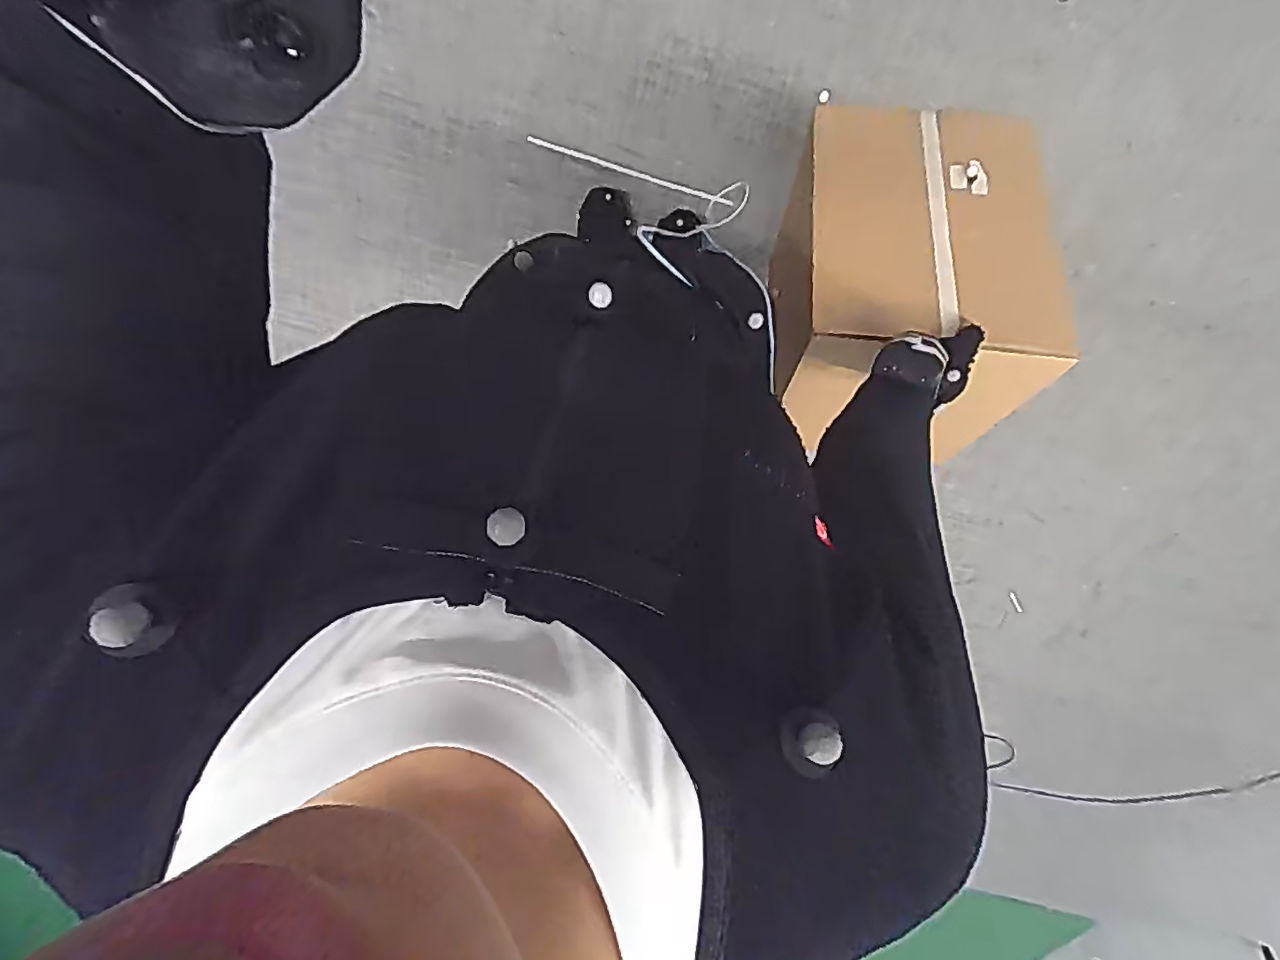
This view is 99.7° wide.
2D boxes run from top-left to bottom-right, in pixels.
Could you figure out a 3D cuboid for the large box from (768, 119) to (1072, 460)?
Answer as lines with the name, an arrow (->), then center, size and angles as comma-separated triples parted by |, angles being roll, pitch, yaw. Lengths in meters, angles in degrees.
large box -> 0.388, -0.279, 0.858 | 0.320, 0.408, 0.320 | 7, 159, 2
